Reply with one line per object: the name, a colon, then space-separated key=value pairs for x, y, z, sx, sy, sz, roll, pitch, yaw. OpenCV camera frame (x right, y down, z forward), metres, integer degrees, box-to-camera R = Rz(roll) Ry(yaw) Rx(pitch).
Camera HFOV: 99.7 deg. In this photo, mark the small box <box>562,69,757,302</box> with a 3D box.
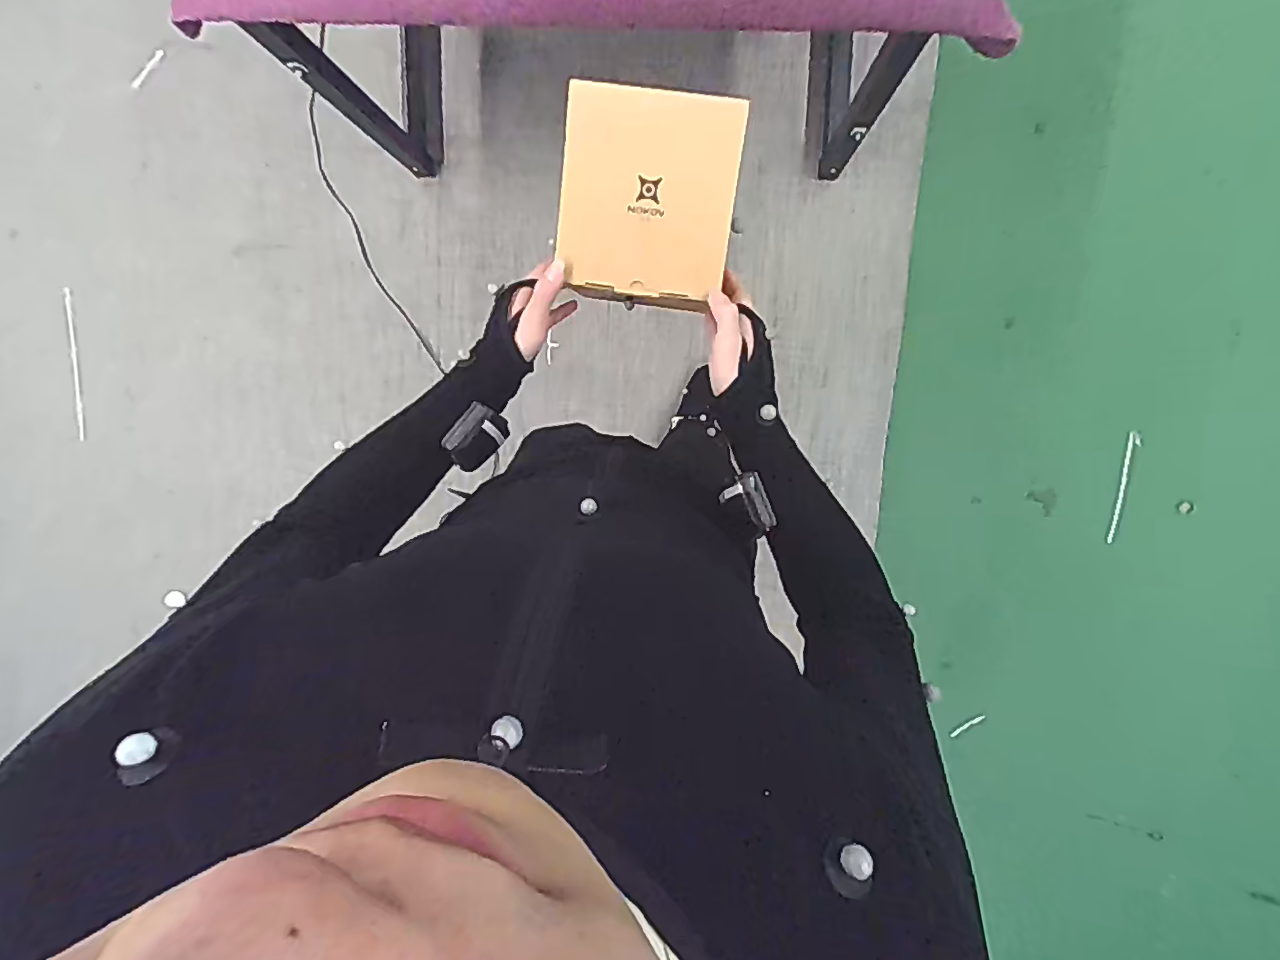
small box: x=0.017 y=-0.296 z=0.582 sx=0.168 sy=0.176 sz=0.179 roll=7 pitch=106 yaw=0
